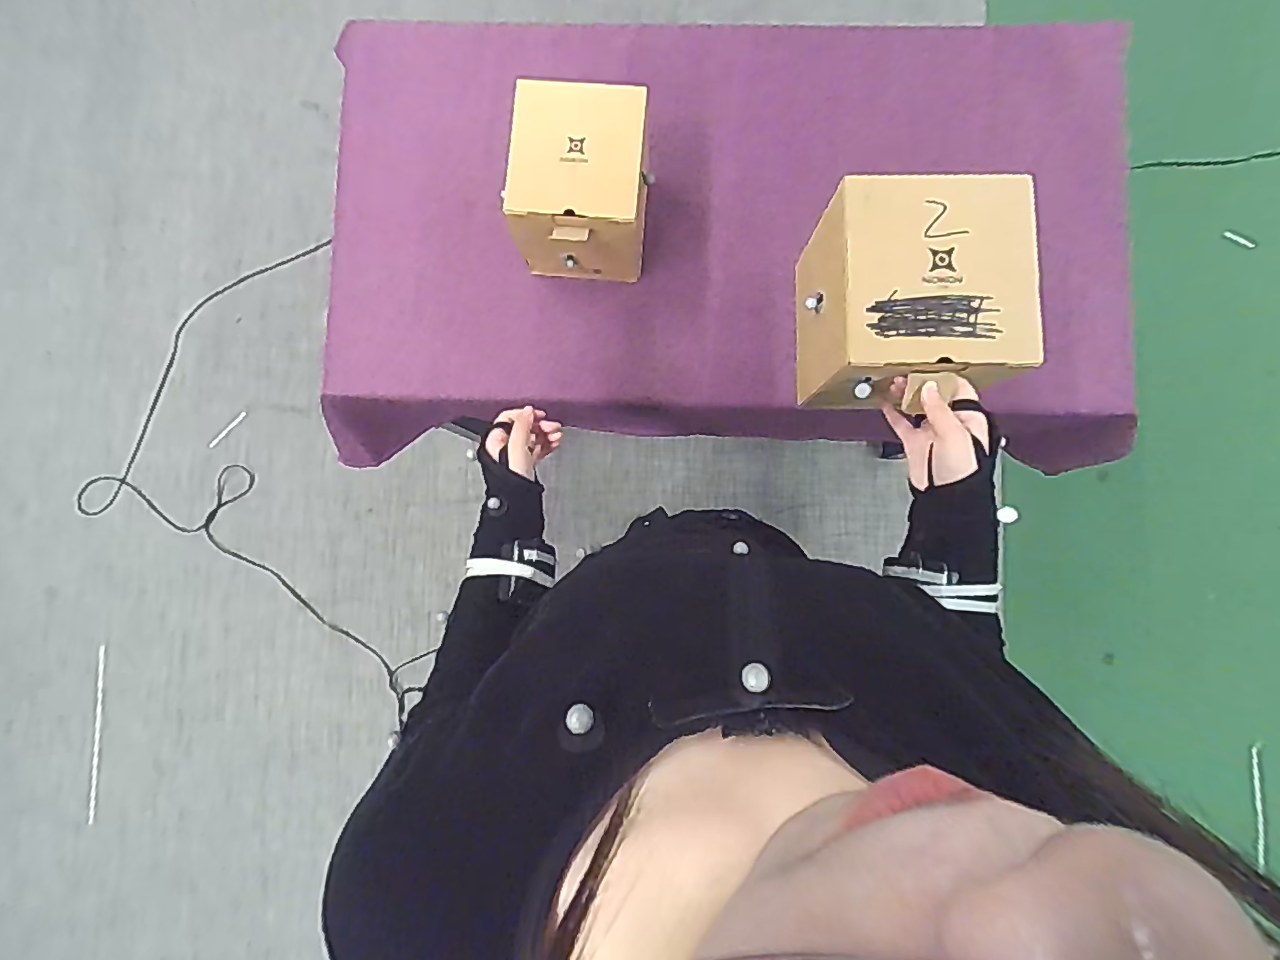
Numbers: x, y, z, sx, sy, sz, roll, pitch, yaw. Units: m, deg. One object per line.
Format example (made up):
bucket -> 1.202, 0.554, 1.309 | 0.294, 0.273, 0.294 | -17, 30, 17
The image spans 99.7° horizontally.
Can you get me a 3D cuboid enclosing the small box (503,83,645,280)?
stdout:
small box -> -0.083, -0.406, 0.760 | 0.168, 0.176, 0.179 | 5, 87, 1
